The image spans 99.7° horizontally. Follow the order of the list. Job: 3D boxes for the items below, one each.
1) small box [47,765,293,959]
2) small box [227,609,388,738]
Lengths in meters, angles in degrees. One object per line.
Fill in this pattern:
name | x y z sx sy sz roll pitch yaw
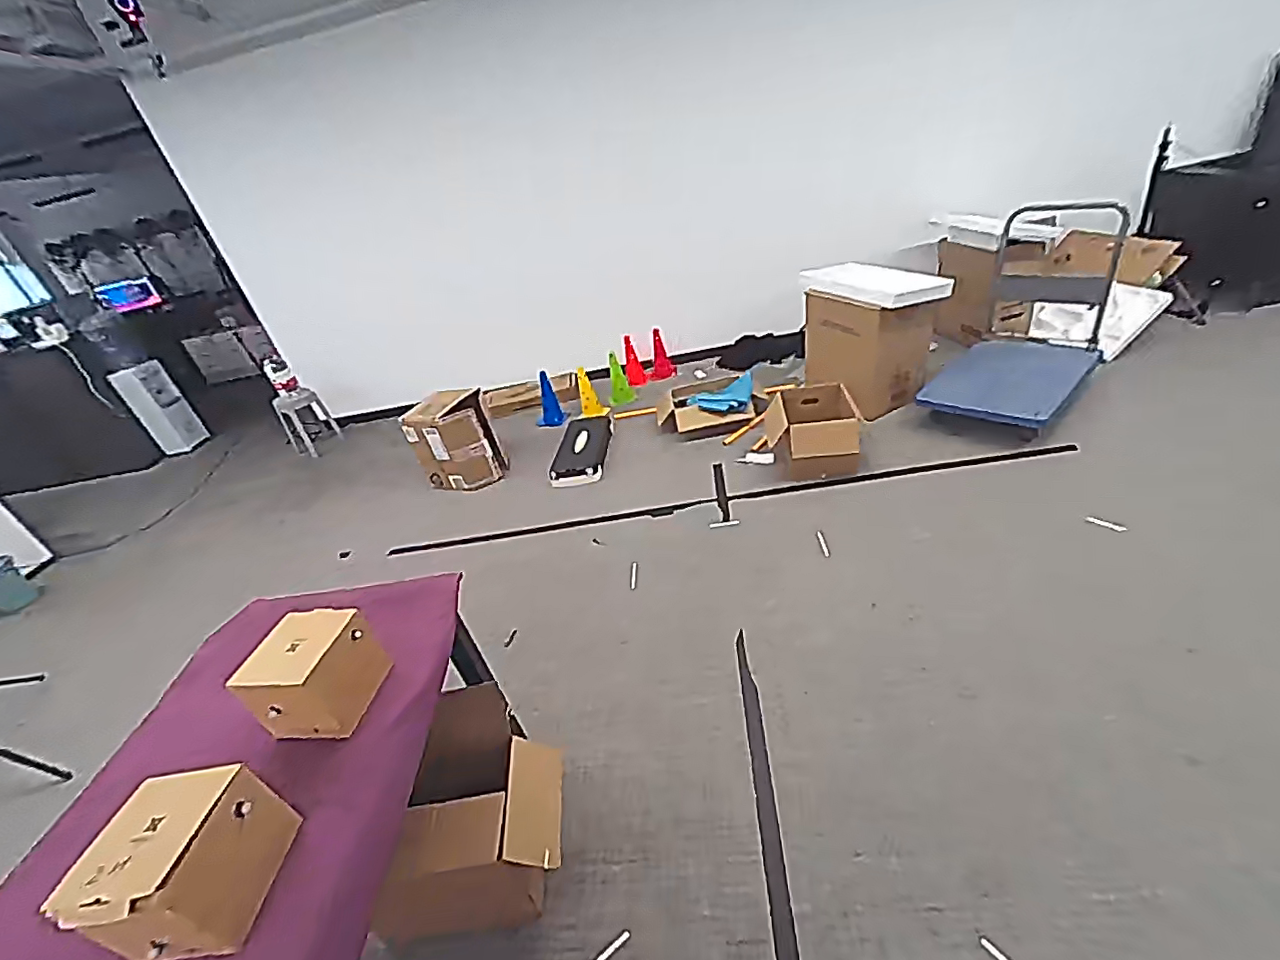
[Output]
small box | -0.646 0.548 0.777 0.168 0.176 0.179 -12 32 7
small box | -0.624 0.375 1.044 0.168 0.176 0.179 -6 32 12
